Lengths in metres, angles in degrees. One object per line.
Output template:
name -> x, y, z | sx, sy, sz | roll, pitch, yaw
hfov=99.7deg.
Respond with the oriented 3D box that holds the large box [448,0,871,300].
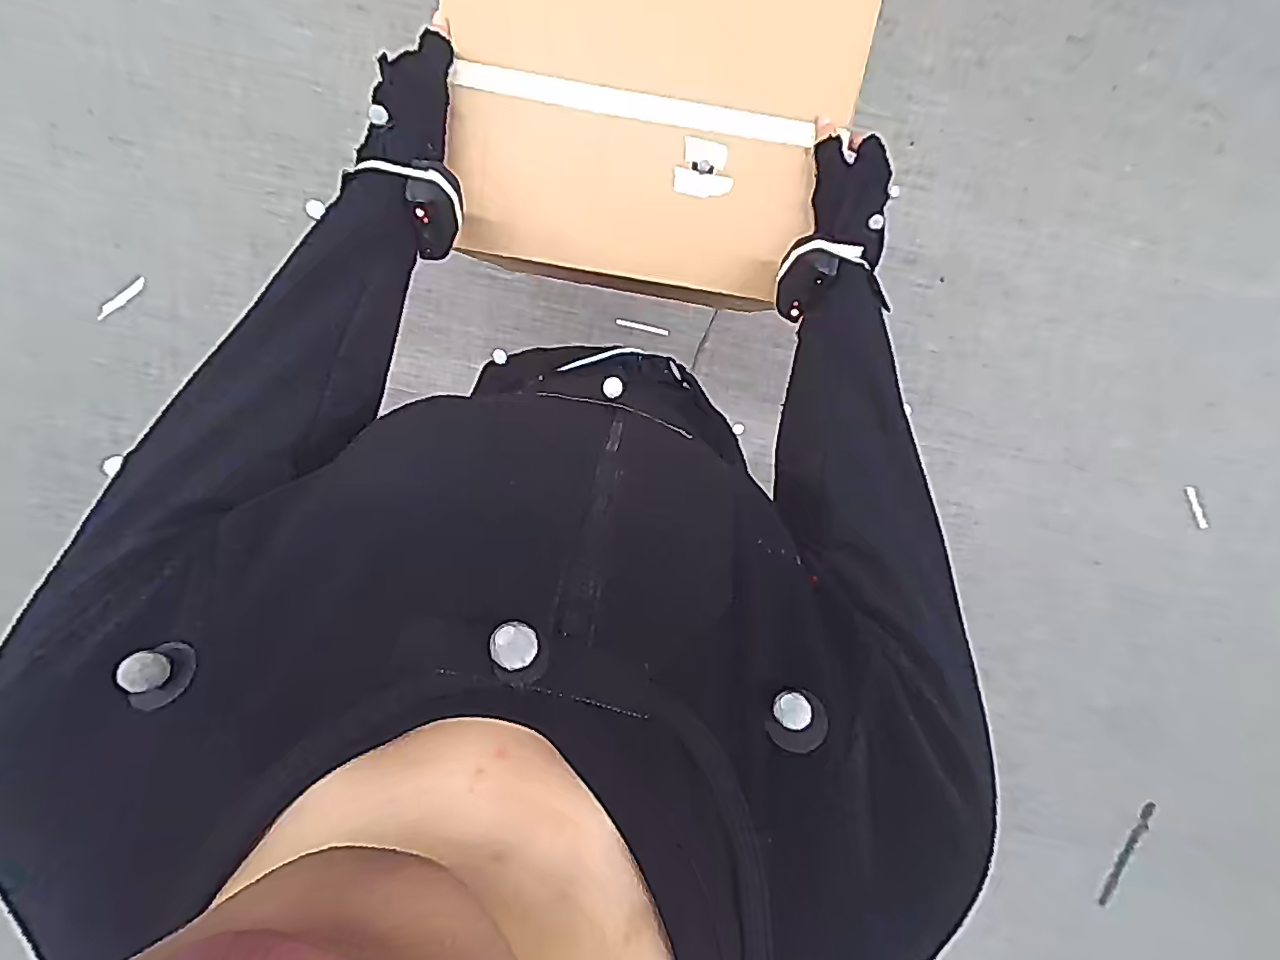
large box -> 0.006, -0.419, 0.687 | 0.408, 0.320, 0.320 | 8, 108, -3
